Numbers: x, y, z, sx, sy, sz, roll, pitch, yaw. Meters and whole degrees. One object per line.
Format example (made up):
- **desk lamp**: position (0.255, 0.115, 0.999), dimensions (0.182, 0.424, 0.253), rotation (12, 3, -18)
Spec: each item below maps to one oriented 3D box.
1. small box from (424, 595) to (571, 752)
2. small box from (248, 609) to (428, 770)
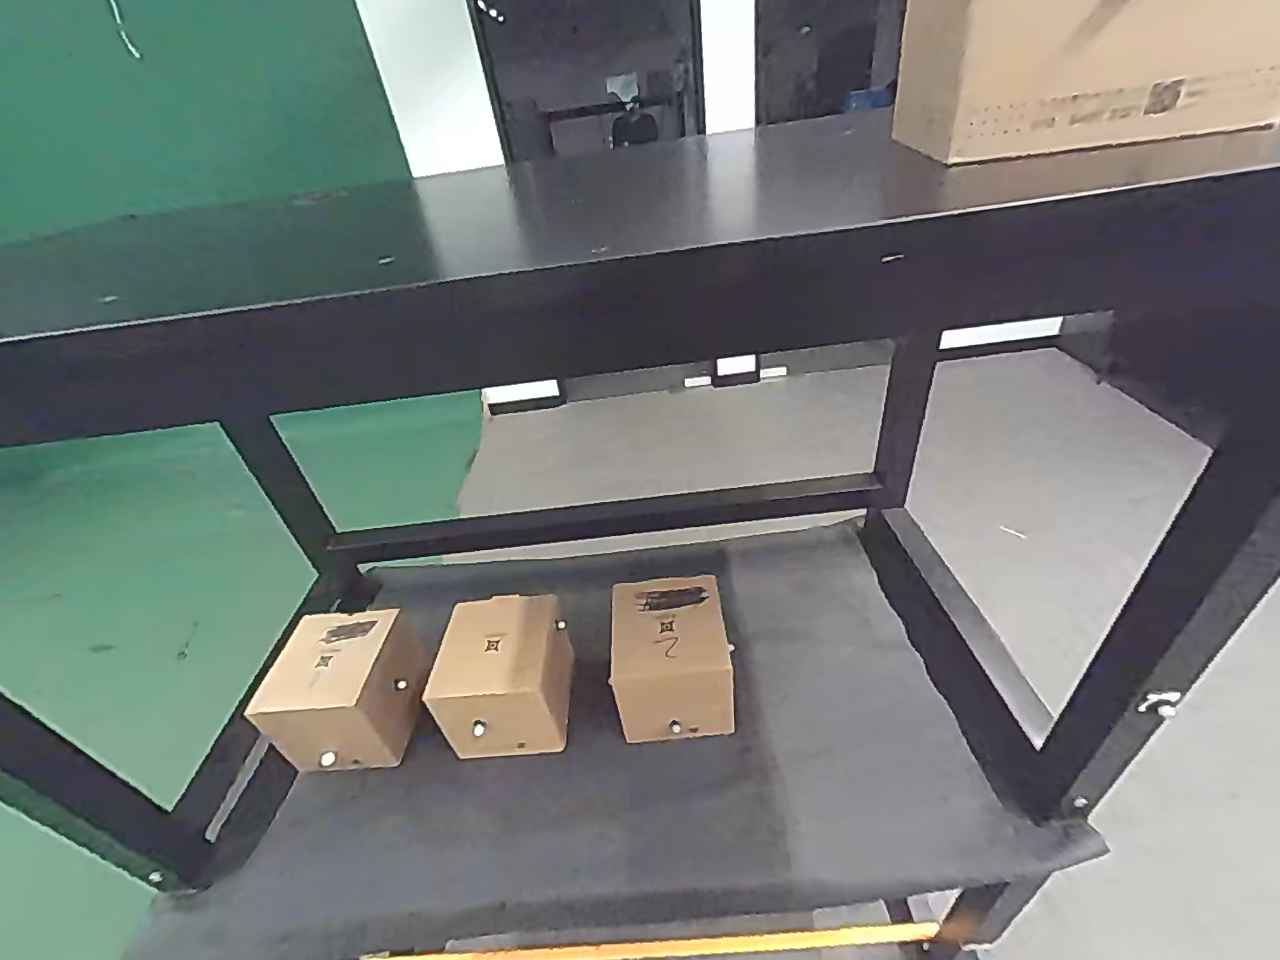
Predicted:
- **small box**: position (-0.209, 0.308, 0.851), dimensions (0.168, 0.176, 0.179), rotation (-6, 35, 4)
- **small box**: position (-0.460, 0.333, 0.864), dimensions (0.168, 0.176, 0.179), rotation (-6, 36, 4)
